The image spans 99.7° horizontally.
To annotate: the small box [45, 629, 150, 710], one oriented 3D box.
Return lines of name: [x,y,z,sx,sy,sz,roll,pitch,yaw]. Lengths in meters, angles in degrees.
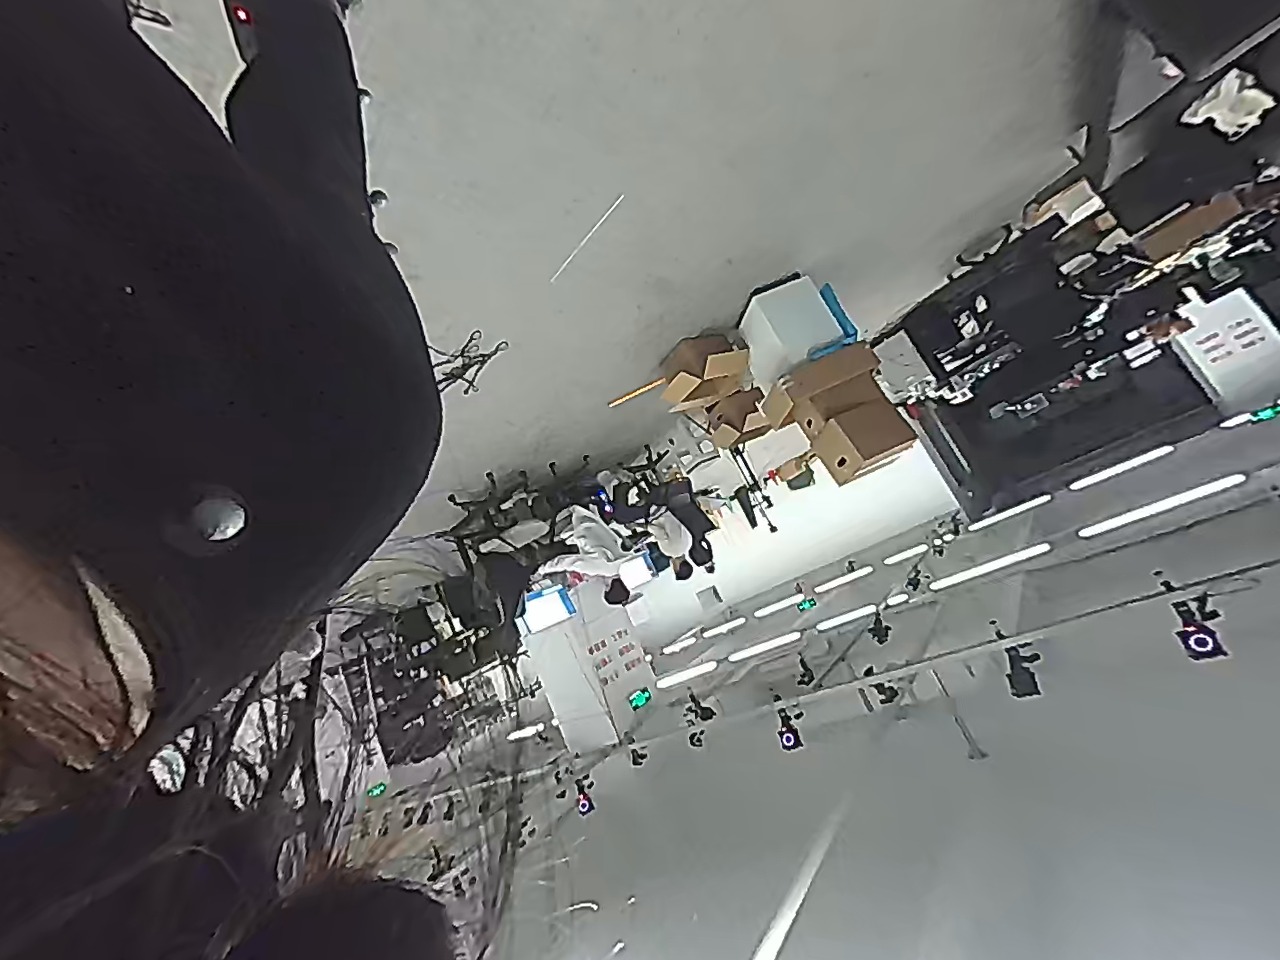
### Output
small box: [-1.694,0.583,1.688,0.168,0.176,0.179,-32,166,21]
